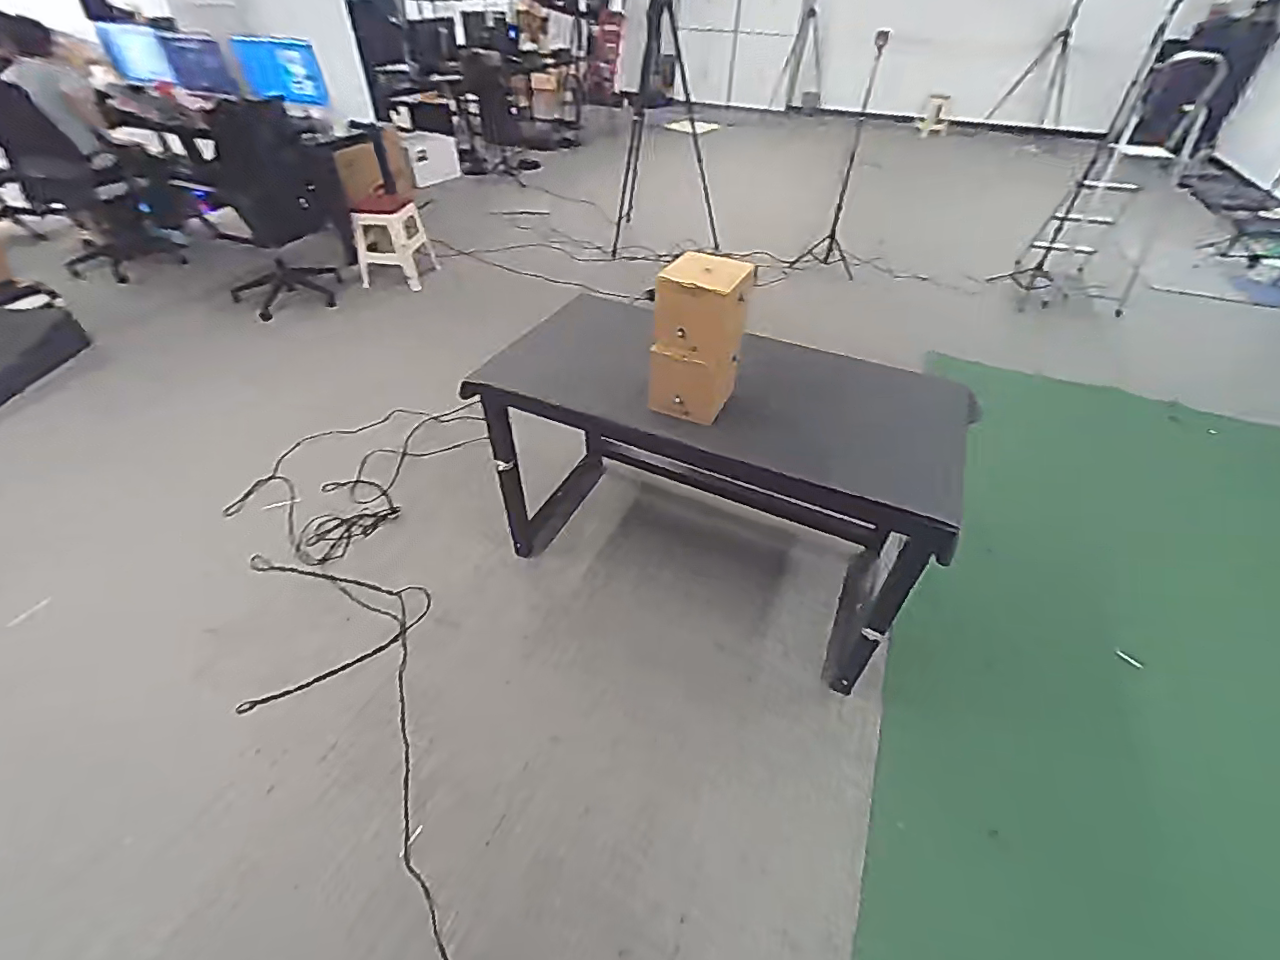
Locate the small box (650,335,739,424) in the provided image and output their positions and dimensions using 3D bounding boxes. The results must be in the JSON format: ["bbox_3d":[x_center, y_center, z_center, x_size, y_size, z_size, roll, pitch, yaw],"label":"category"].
[{"bbox_3d":[0.128,-0.265,1.321,0.168,0.176,0.179,19,45,19],"label":"small box"}]

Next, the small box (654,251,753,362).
[{"bbox_3d":[0.138,-0.390,1.218,0.168,0.176,0.179,20,45,18],"label":"small box"}]
